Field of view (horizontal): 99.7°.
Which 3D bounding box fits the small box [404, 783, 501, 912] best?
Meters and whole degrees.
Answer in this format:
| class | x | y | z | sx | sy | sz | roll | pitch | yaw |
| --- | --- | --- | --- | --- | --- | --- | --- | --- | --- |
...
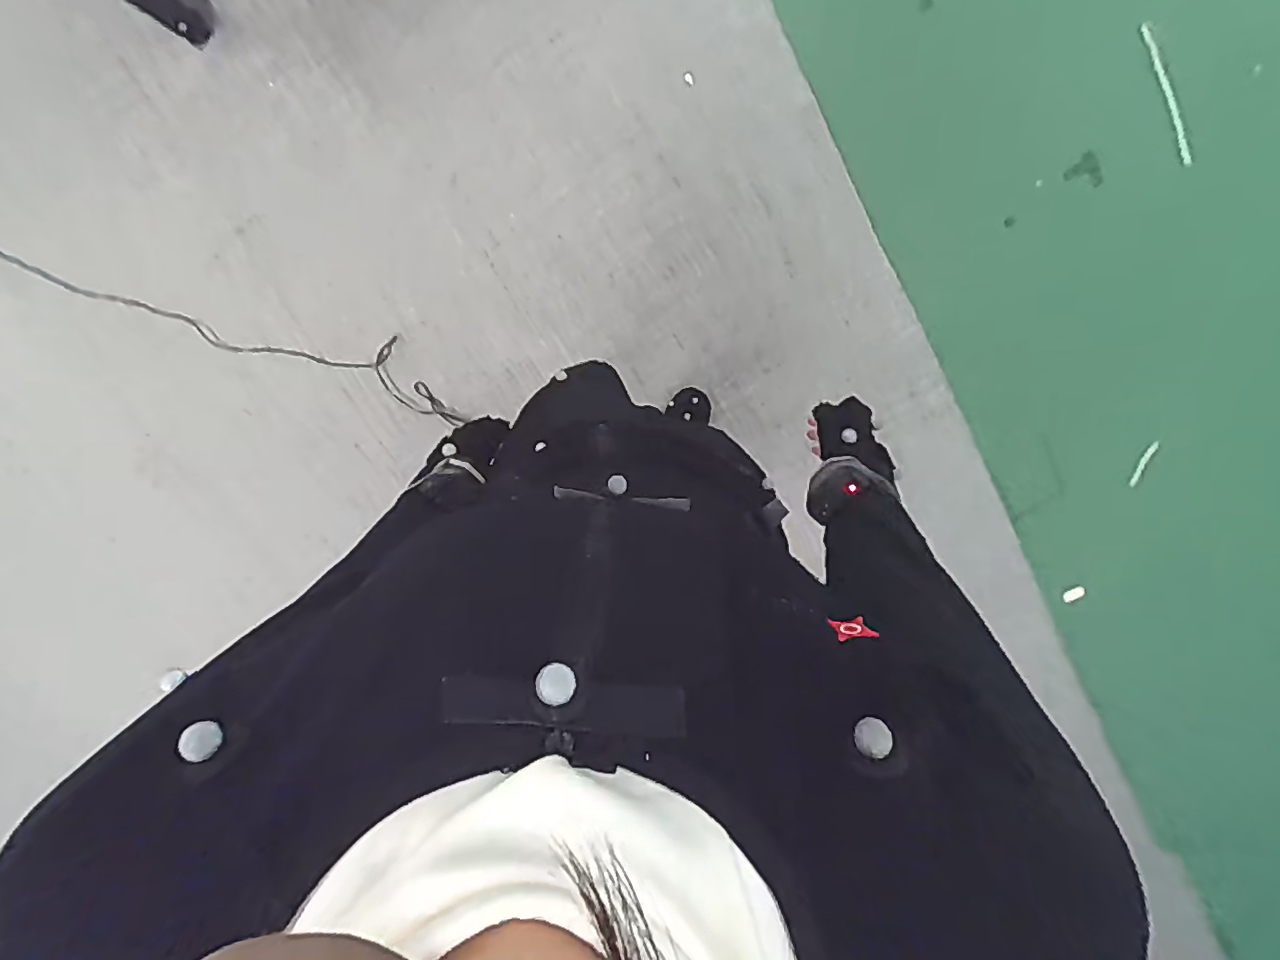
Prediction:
| class | x | y | z | sx | sy | sz | roll | pitch | yaw |
| --- | --- | --- | --- | --- | --- | --- | --- | --- | --- |
| small box | -0.428 | 0.845 | 1.255 | 0.168 | 0.176 | 0.179 | 4 | 100 | 2 |
